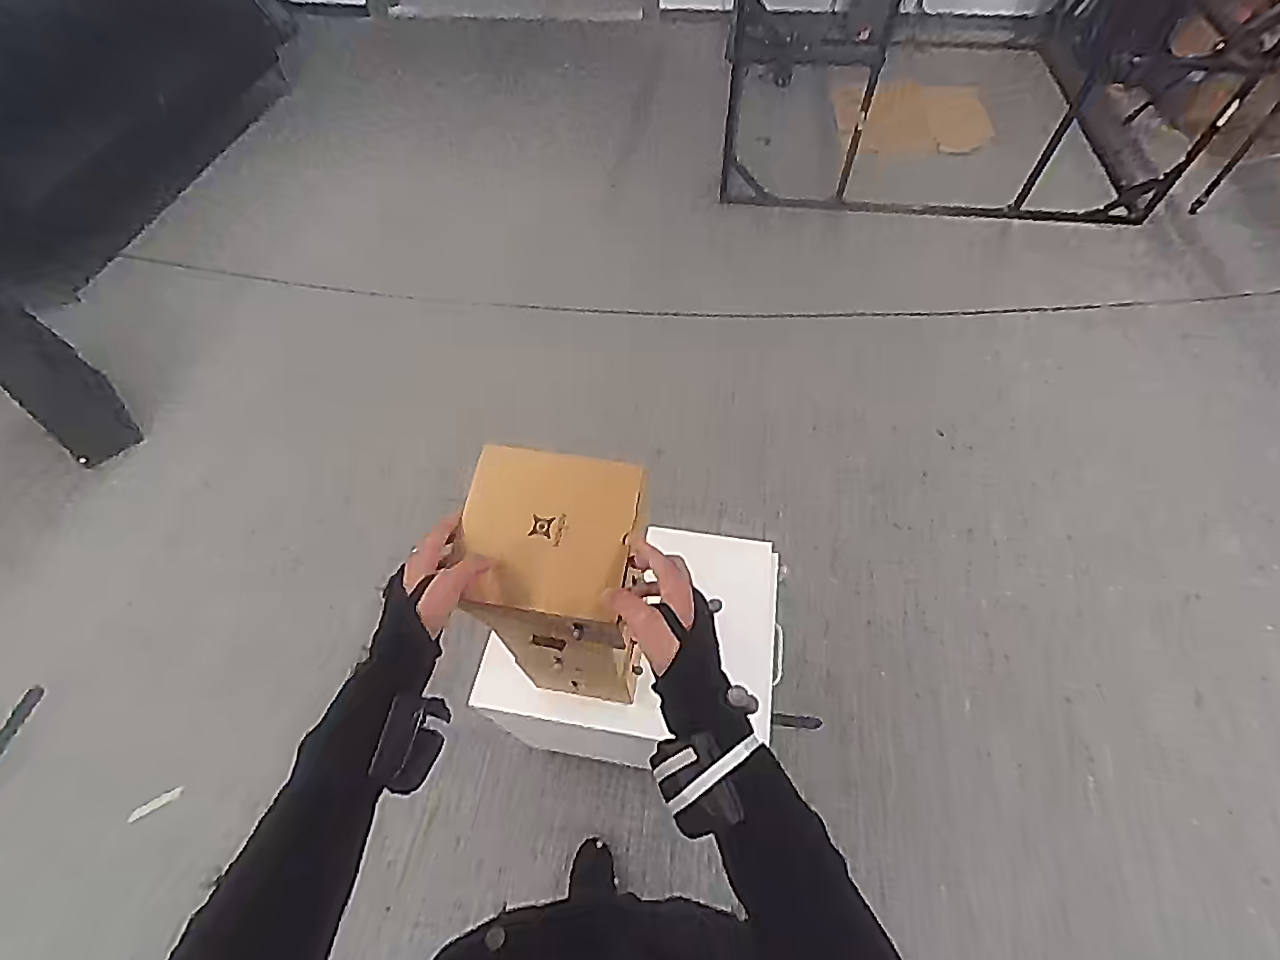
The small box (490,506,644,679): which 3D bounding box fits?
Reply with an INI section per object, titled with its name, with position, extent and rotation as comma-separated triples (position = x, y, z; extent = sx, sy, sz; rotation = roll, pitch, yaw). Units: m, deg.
[small box]
position = -0.091, 0.165, 0.779
extent = 0.168, 0.176, 0.179
rotation = 9, 57, 9
